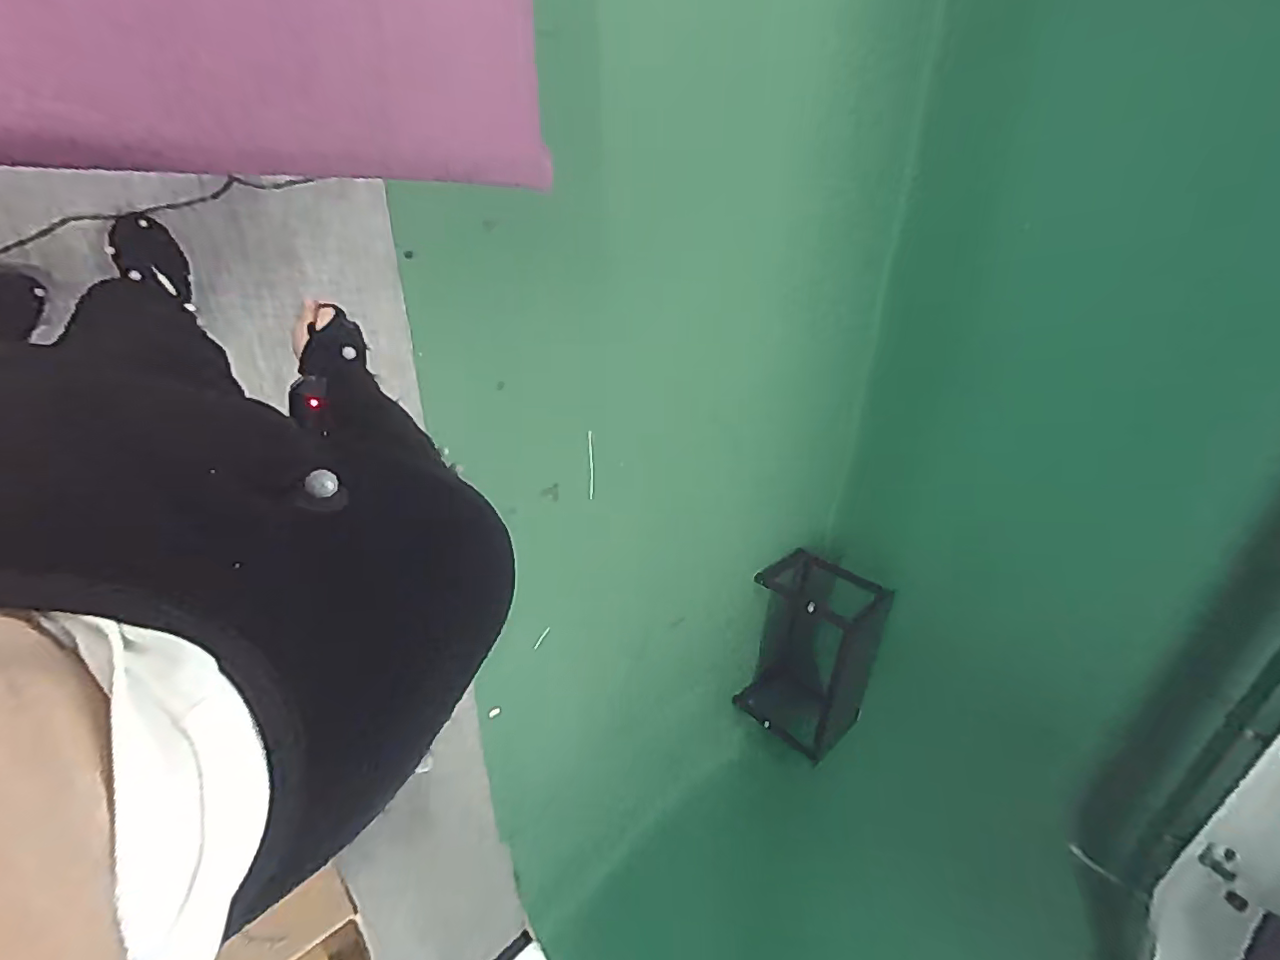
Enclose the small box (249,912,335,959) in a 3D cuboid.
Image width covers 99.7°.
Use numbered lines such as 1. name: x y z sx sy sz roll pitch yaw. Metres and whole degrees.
1. small box: -0.923 1.329 1.457 0.168 0.176 0.179 -19 124 -40
